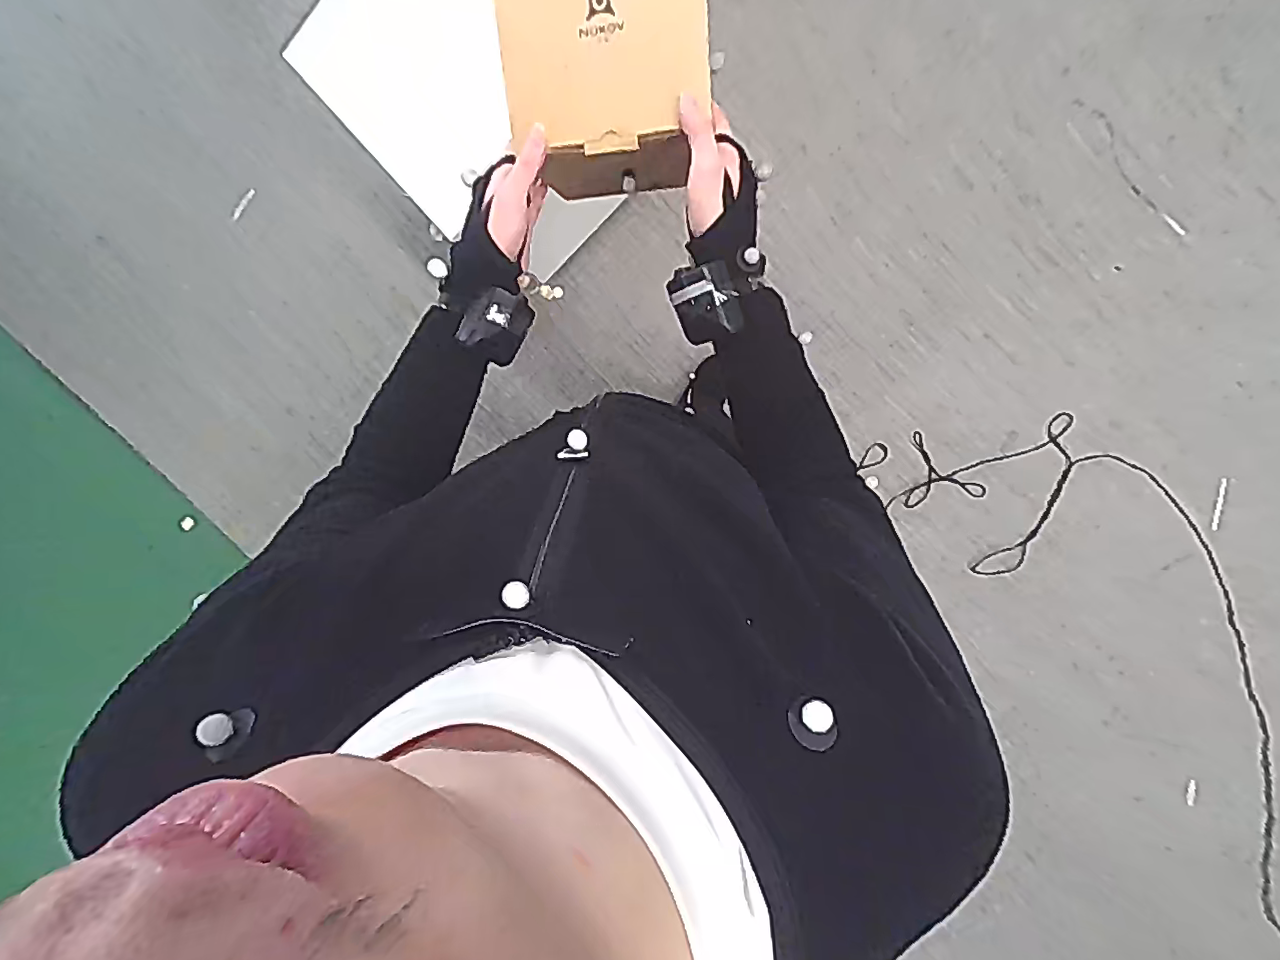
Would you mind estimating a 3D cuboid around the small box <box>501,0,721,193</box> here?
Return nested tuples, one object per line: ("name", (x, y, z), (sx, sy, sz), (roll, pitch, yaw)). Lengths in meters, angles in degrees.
("small box", (-0.015, -0.381, 0.496), (0.168, 0.176, 0.179), (-5, 104, 10))
